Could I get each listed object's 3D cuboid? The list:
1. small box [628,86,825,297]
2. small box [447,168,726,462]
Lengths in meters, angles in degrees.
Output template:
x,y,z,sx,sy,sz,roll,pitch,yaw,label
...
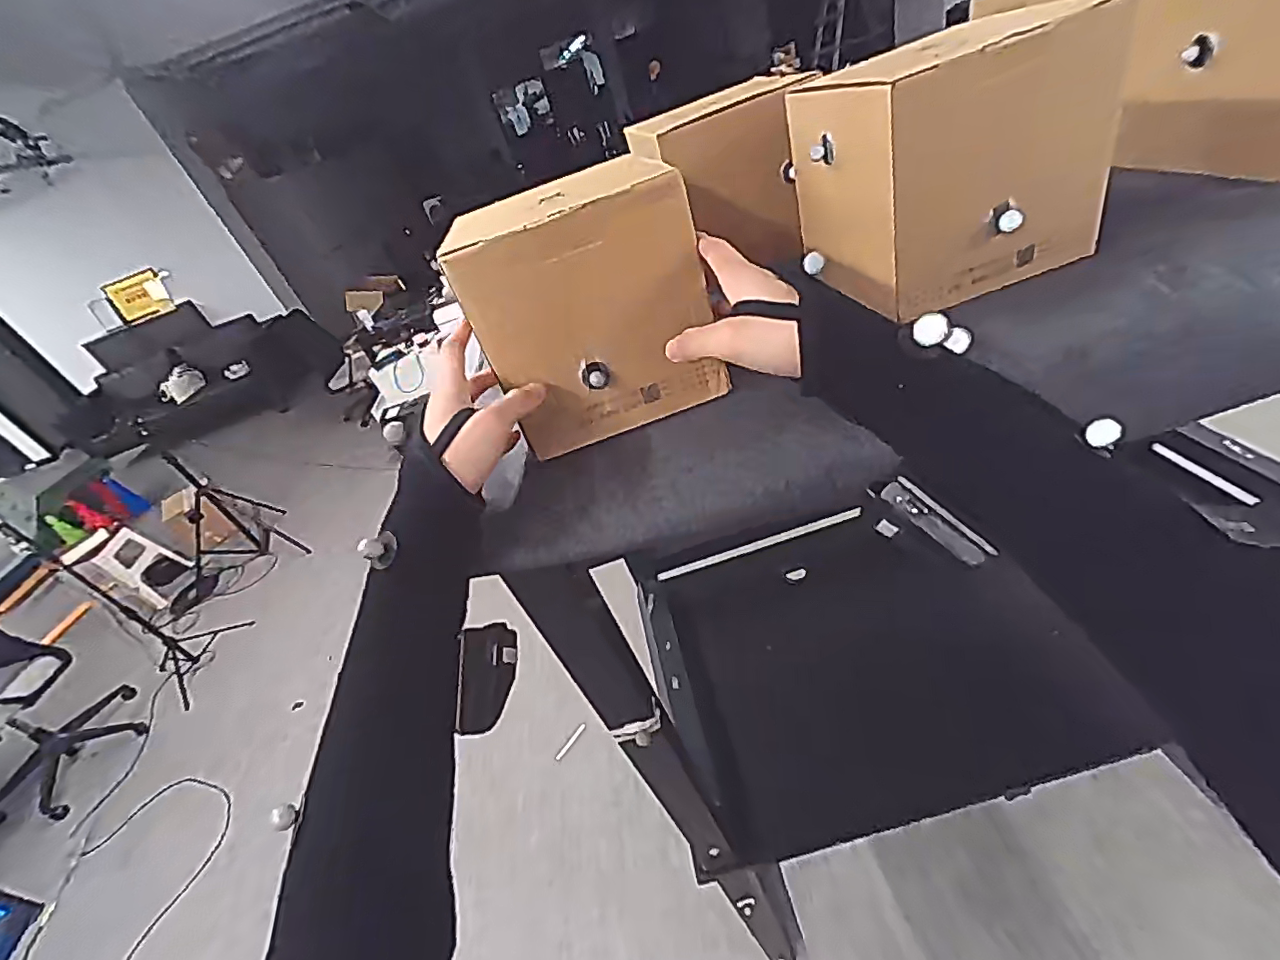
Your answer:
x,y,z,sx,sy,sz,roll,pitch,yaw,label
0.103,-0.337,0.638,0.179,0.176,0.168,-21,36,0,small box
-0.041,-0.143,0.459,0.168,0.176,0.179,-20,35,0,small box
